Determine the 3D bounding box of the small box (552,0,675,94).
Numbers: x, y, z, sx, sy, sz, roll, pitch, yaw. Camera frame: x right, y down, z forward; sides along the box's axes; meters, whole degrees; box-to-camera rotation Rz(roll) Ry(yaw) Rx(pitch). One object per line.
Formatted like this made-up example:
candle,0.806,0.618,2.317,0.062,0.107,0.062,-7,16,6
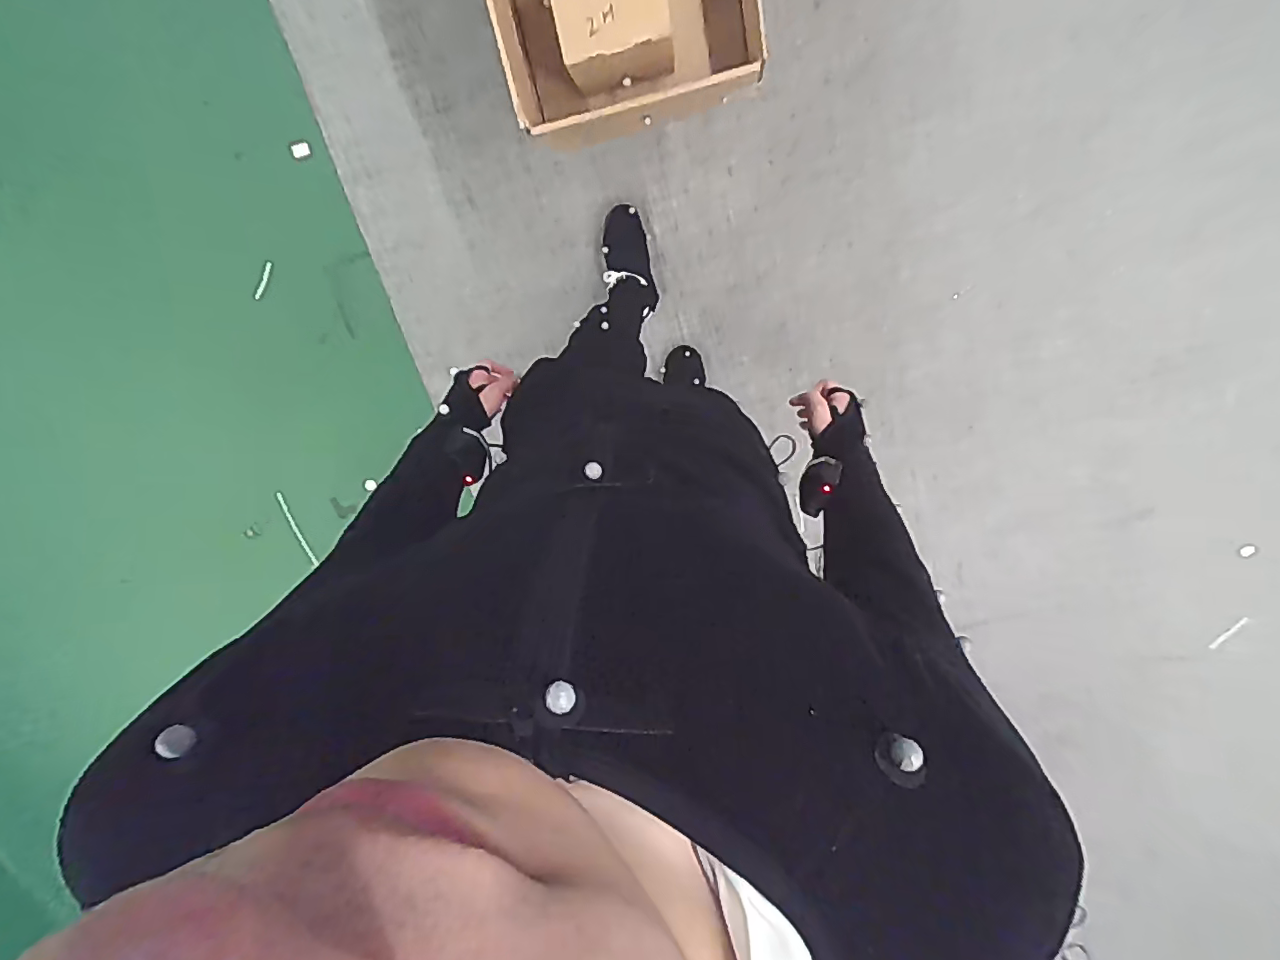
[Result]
small box,-0.042,-0.737,0.831,0.168,0.176,0.179,-9,110,10
